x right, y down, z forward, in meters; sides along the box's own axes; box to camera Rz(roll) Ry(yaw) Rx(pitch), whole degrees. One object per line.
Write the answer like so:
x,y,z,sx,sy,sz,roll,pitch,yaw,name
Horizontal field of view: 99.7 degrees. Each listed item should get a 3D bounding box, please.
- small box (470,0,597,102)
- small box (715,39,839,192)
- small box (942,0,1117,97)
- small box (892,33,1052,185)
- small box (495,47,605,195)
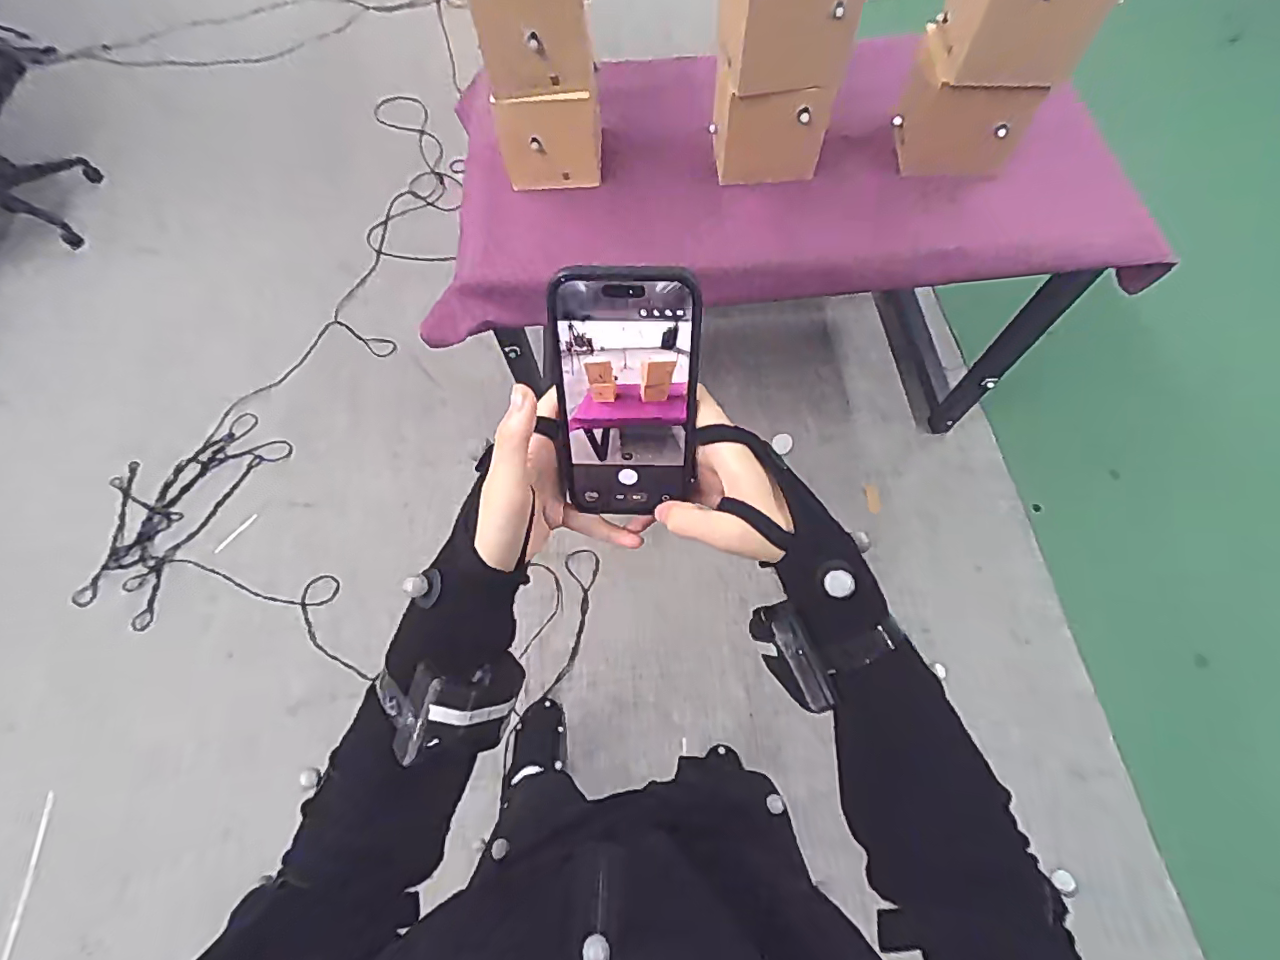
-0.162,-0.727,0.849,0.168,0.176,0.179,-7,66,-1,small box
0.235,-0.650,0.975,0.179,0.176,0.168,-3,65,1,small box
0.578,-0.707,0.807,0.179,0.176,0.168,3,65,3,small box
0.576,-0.652,0.962,0.179,0.176,0.168,3,65,4,small box
-0.155,-0.651,0.995,0.168,0.176,0.179,-2,65,2,small box
